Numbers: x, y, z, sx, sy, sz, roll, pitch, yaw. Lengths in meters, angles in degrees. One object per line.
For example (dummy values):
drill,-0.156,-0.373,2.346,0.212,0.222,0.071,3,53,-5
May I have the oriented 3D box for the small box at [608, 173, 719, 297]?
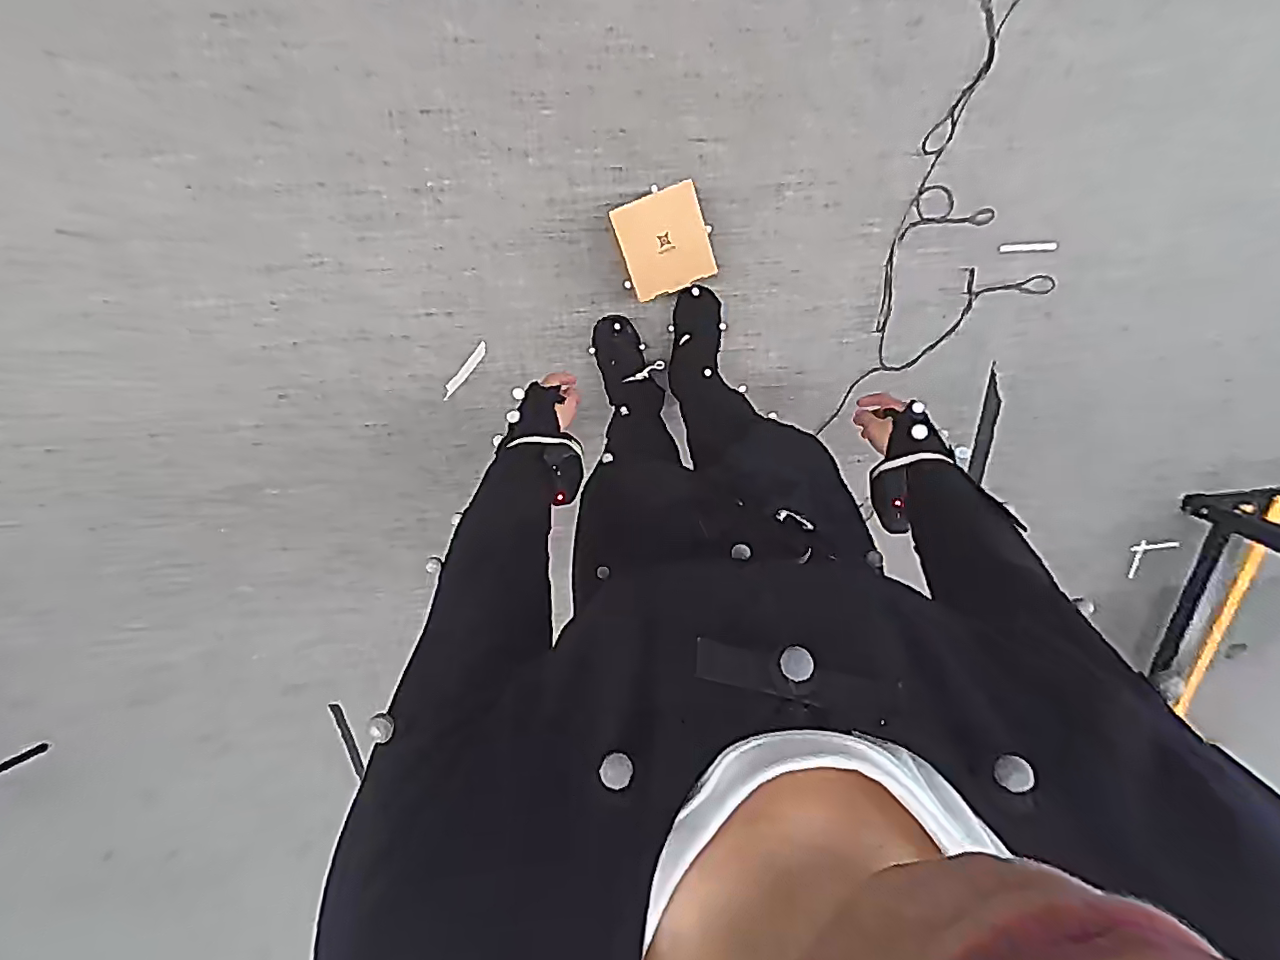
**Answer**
small box,0.040,-0.487,1.086,0.168,0.176,0.179,-21,115,3
